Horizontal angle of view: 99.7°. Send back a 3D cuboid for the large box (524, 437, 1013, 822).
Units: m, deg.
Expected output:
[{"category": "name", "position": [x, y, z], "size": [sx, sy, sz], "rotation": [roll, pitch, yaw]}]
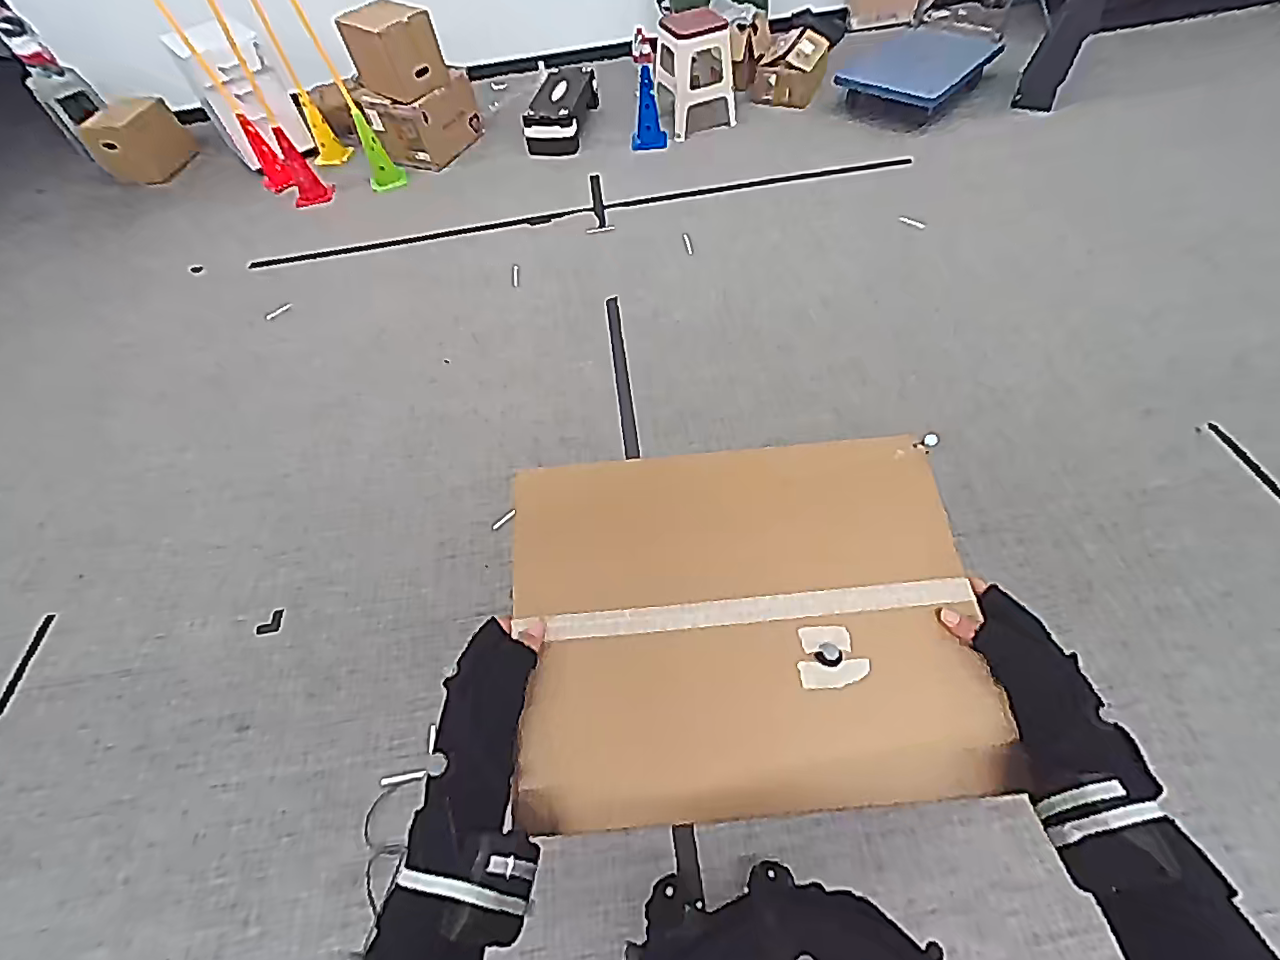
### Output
[{"category": "large box", "position": [0.096, 0.176, 0.629], "size": [0.408, 0.320, 0.320], "rotation": [-5, 66, 0]}]
